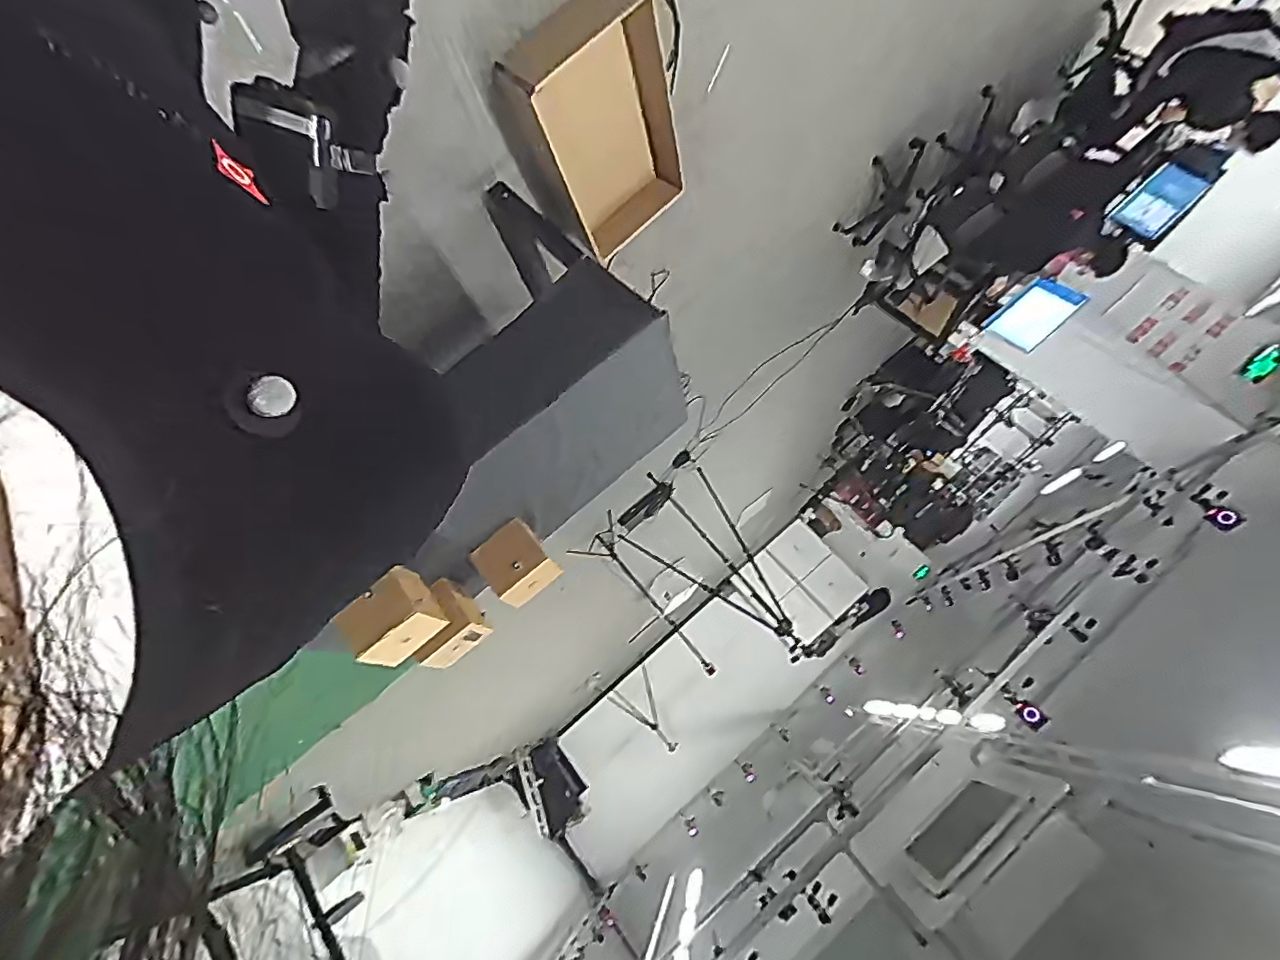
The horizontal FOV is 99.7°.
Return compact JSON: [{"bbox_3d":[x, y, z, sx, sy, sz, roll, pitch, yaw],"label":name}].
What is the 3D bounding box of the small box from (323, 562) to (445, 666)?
[{"bbox_3d":[-0.611,0.321,1.297,0.168,0.176,0.179,-40,159,-11],"label":"small box"}]
